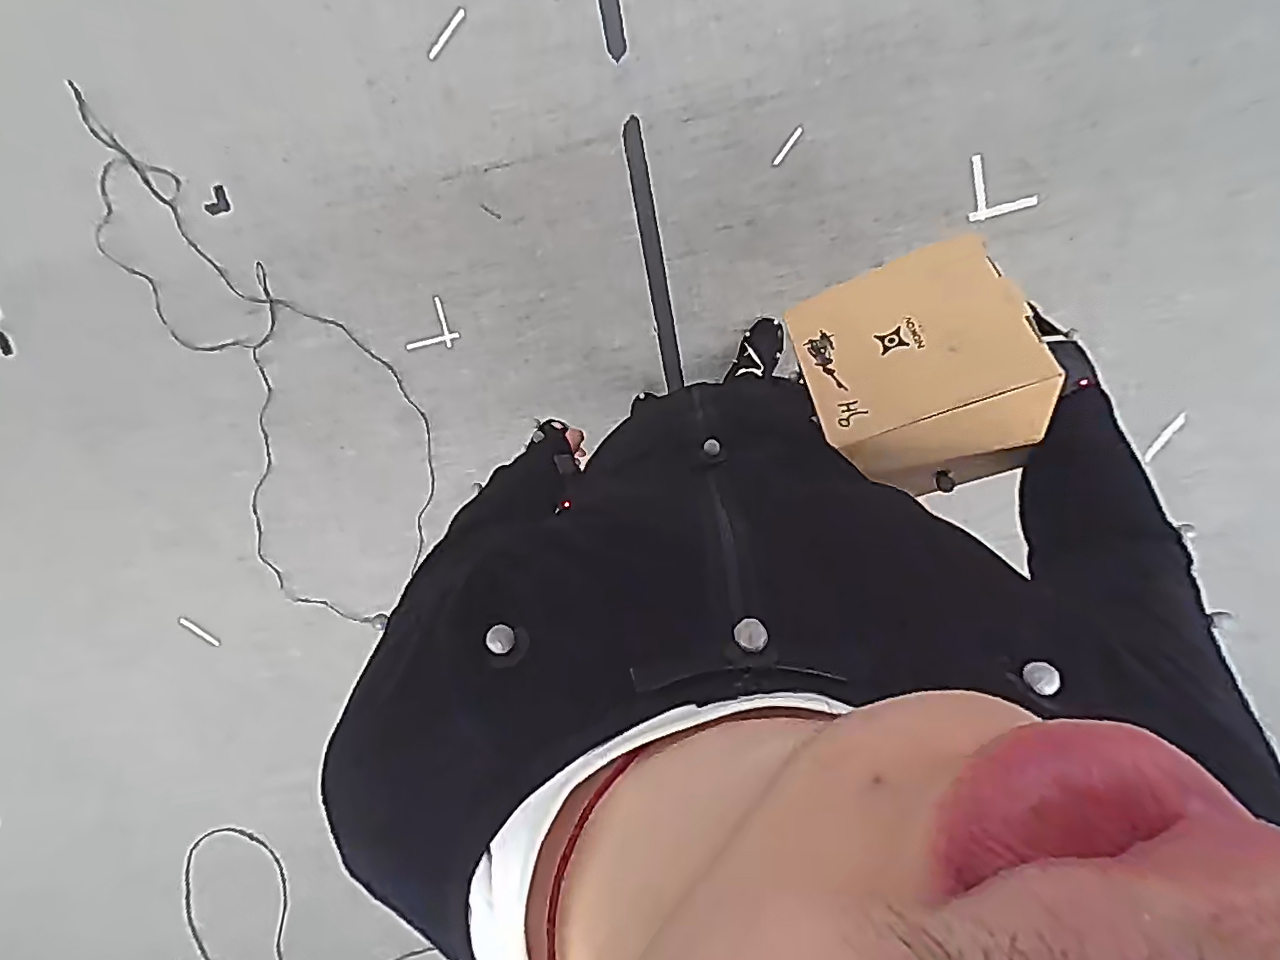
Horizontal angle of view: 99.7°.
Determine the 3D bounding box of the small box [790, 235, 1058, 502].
[{"bbox_3d":[0.271,-0.097,0.547,0.179,0.176,0.168,-19,59,20],"label":"small box"}]
